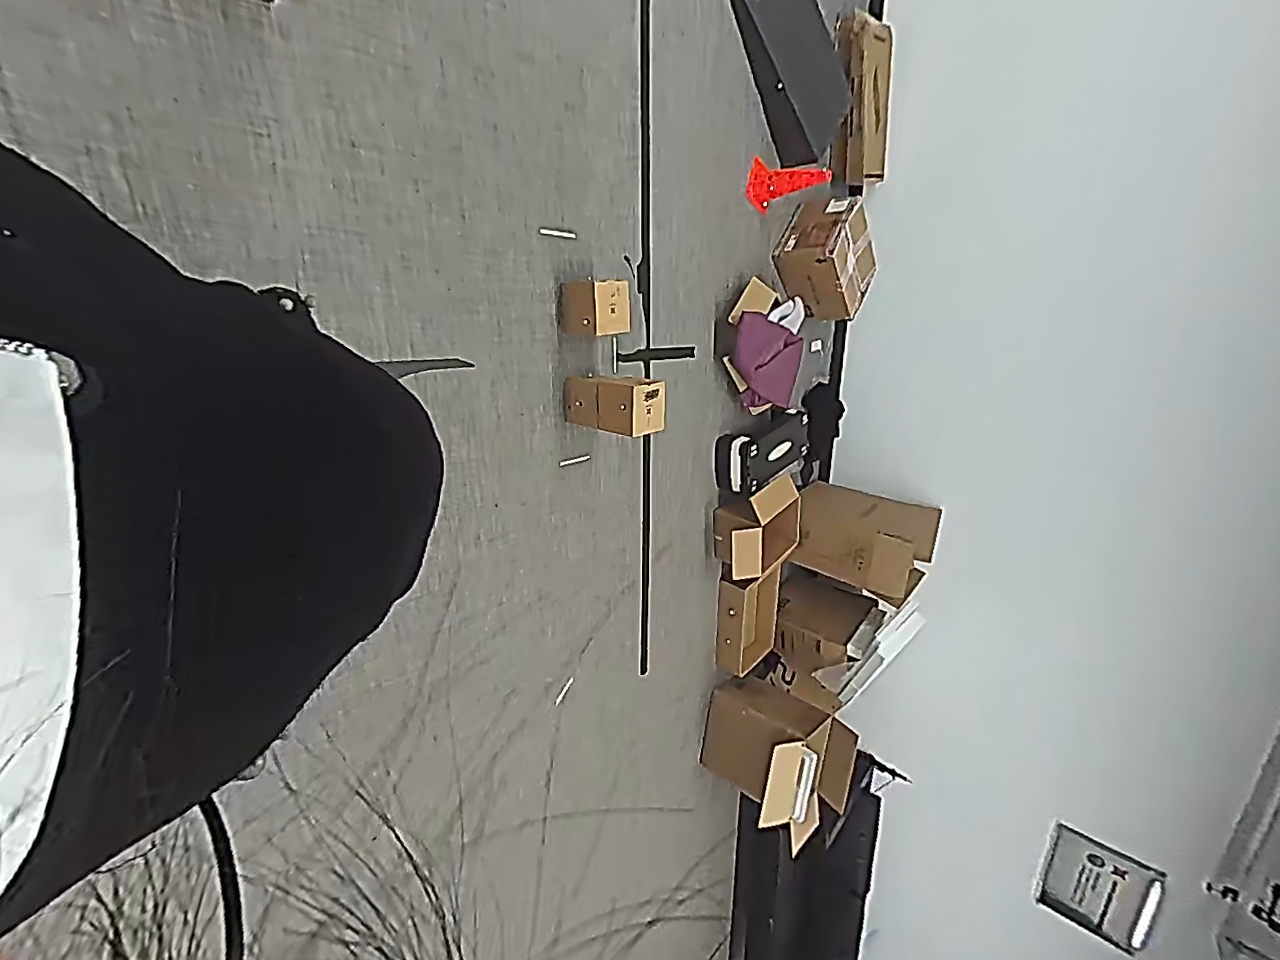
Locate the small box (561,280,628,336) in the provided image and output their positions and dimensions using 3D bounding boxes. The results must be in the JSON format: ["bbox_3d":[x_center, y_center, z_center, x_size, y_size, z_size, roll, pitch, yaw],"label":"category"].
[{"bbox_3d":[-0.158,-0.605,1.891,0.168,0.176,0.179,-22,118,-44],"label":"small box"}]

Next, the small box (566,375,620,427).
[{"bbox_3d":[-0.159,-0.296,2.000,0.179,0.176,0.168,-16,115,-45],"label":"small box"}]

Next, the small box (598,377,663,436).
[{"bbox_3d":[-0.035,-0.264,1.894,0.168,0.176,0.179,-19,117,-45],"label":"small box"}]
